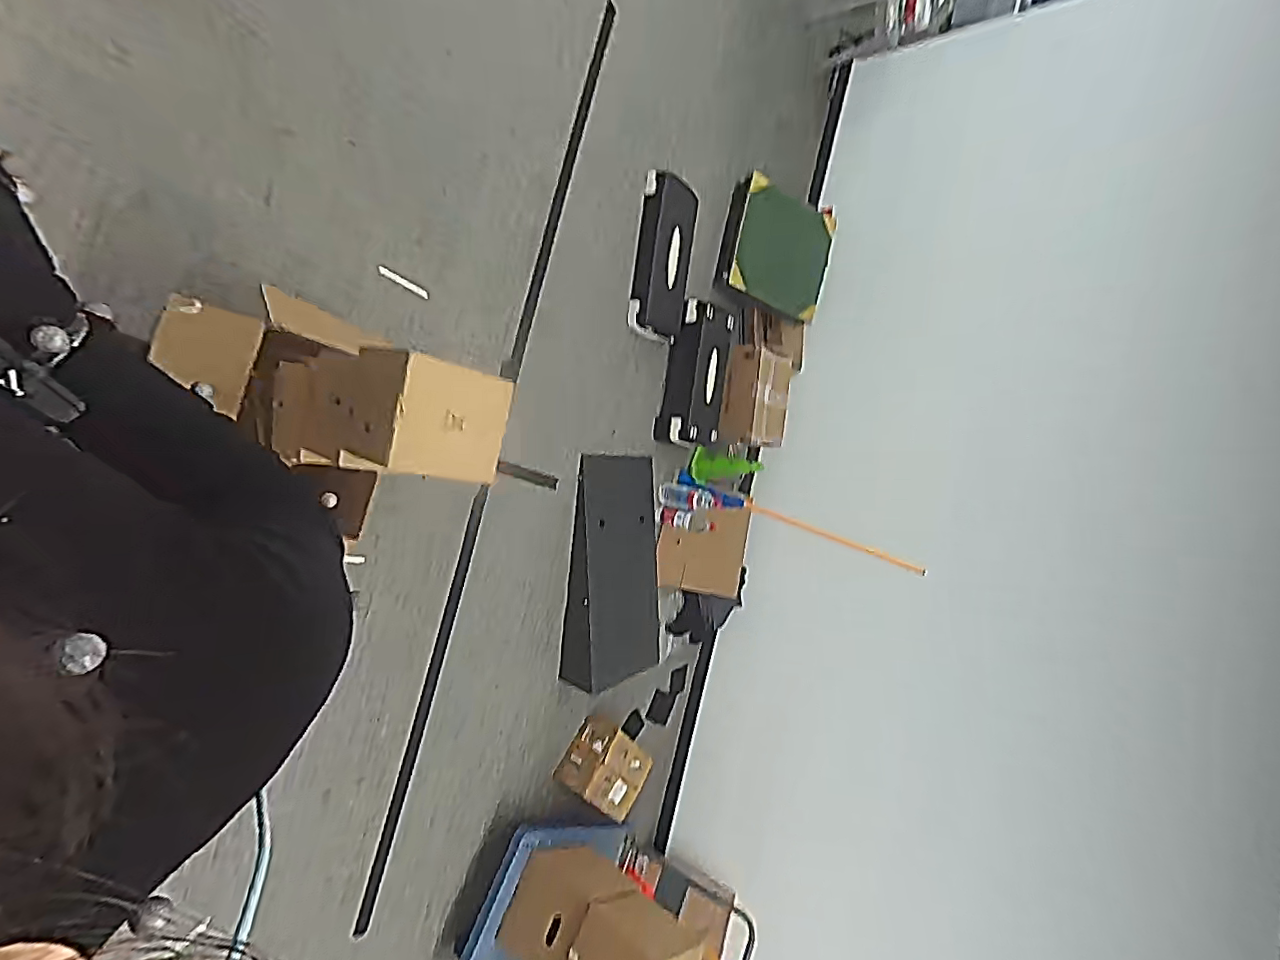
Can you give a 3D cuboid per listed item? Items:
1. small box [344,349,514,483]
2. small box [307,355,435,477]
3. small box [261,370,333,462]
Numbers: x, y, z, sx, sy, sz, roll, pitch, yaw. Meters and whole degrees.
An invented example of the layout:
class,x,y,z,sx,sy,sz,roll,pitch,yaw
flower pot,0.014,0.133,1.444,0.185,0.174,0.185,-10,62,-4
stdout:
class,x,y,z,sx,sy,sz,roll,pitch,yaw
small box,-0.331,-0.100,0.843,0.179,0.176,0.168,11,94,-51
small box,-0.457,-0.113,0.947,0.168,0.176,0.179,9,94,-49
small box,-0.697,-0.144,1.171,0.168,0.176,0.179,-12,111,-48
